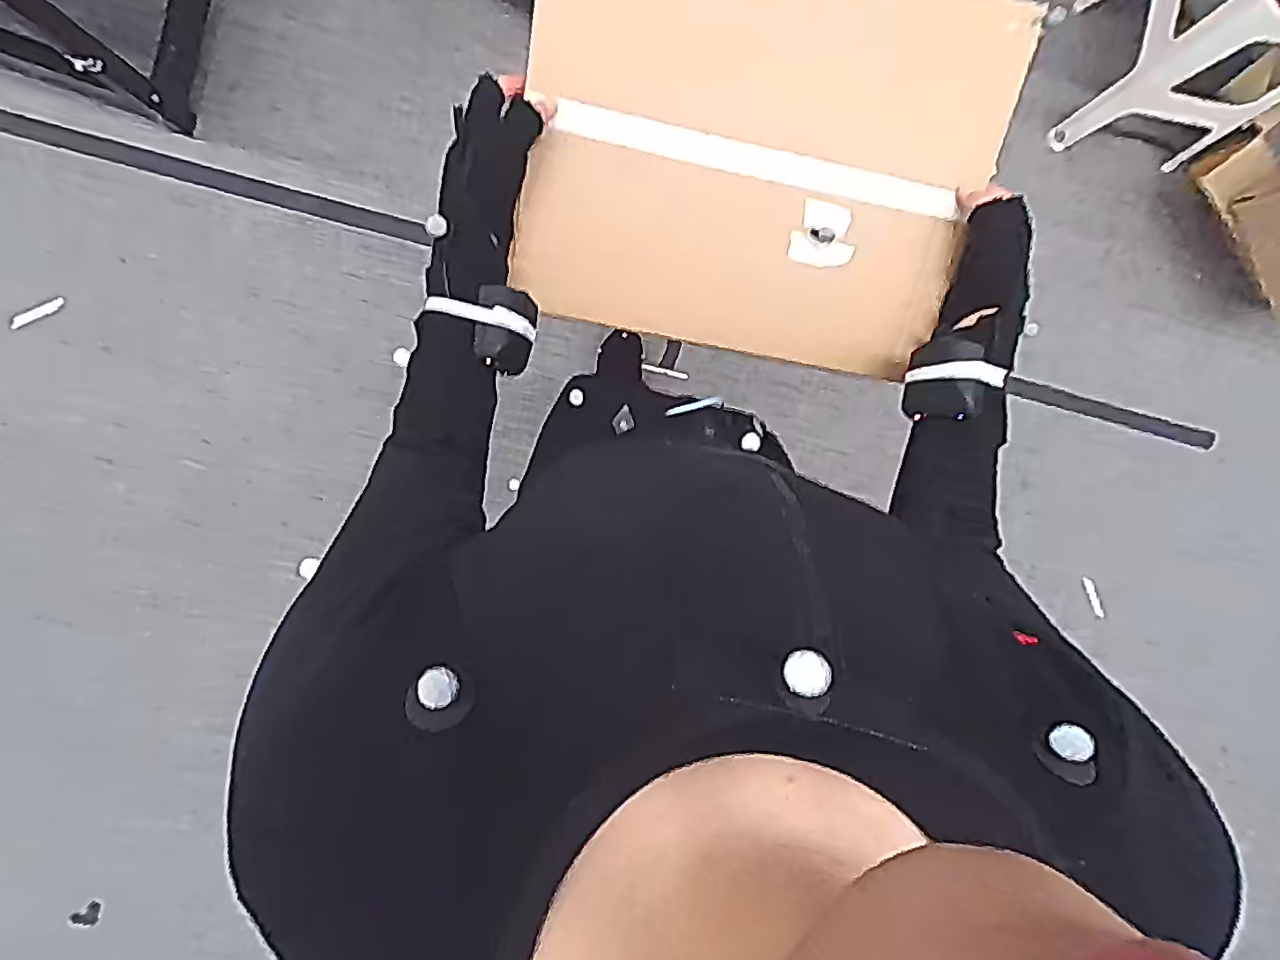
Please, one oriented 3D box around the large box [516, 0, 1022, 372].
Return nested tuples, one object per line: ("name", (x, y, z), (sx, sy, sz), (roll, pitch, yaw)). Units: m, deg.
("large box", (0.092, -0.326, 0.617), (0.408, 0.320, 0.320), (9, 108, -8))
